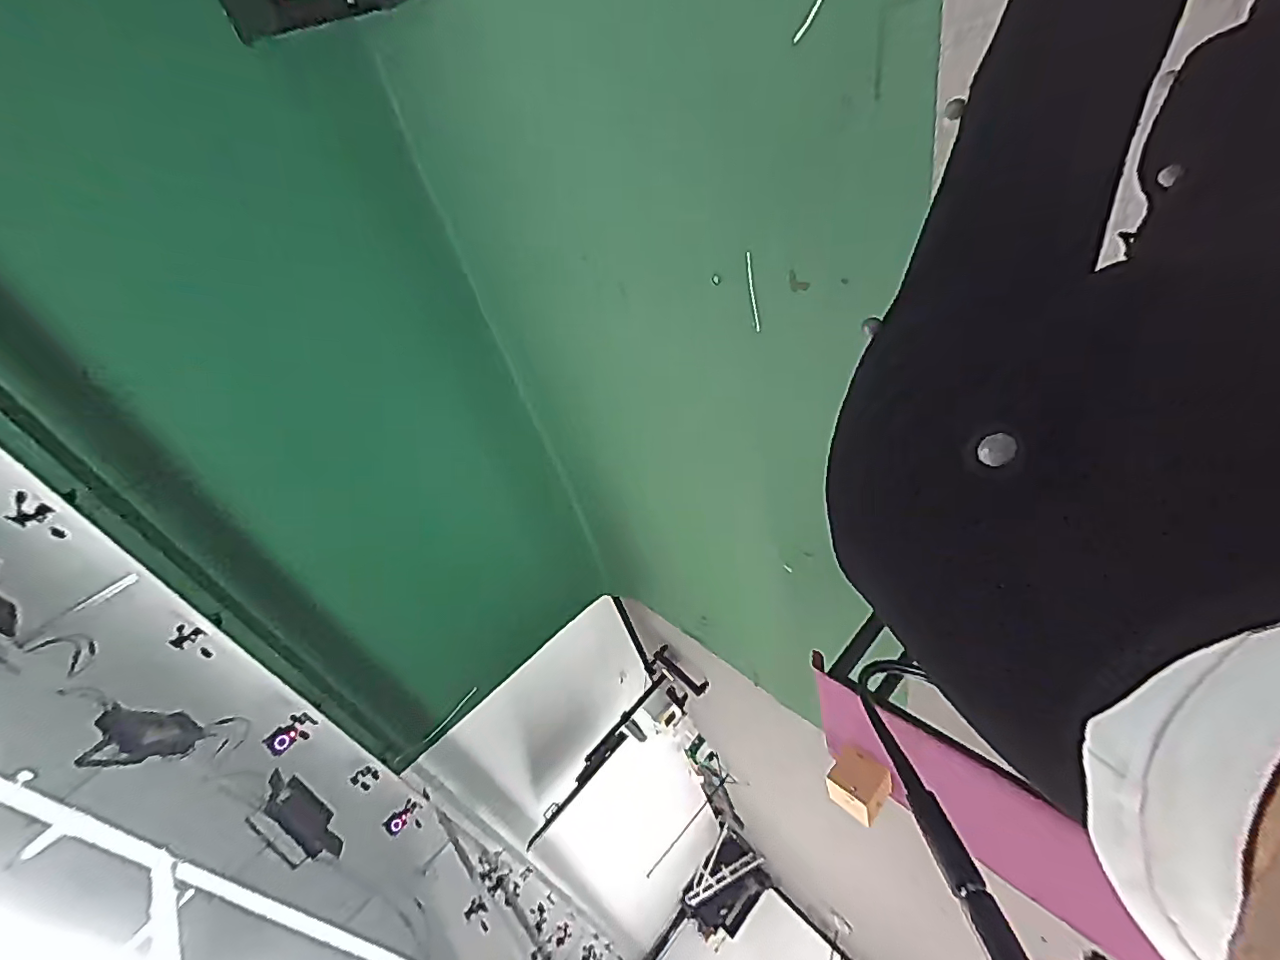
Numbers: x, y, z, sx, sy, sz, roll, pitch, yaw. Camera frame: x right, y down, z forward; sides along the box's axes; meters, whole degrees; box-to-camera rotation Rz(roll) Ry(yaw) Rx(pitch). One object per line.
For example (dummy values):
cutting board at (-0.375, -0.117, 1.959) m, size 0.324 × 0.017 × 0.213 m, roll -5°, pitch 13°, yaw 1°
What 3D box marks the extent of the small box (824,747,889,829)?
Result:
small box at (0.813, 1.147, 2.020) m, size 0.168 × 0.176 × 0.179 m, roll 21°, pitch 142°, yaw 45°
